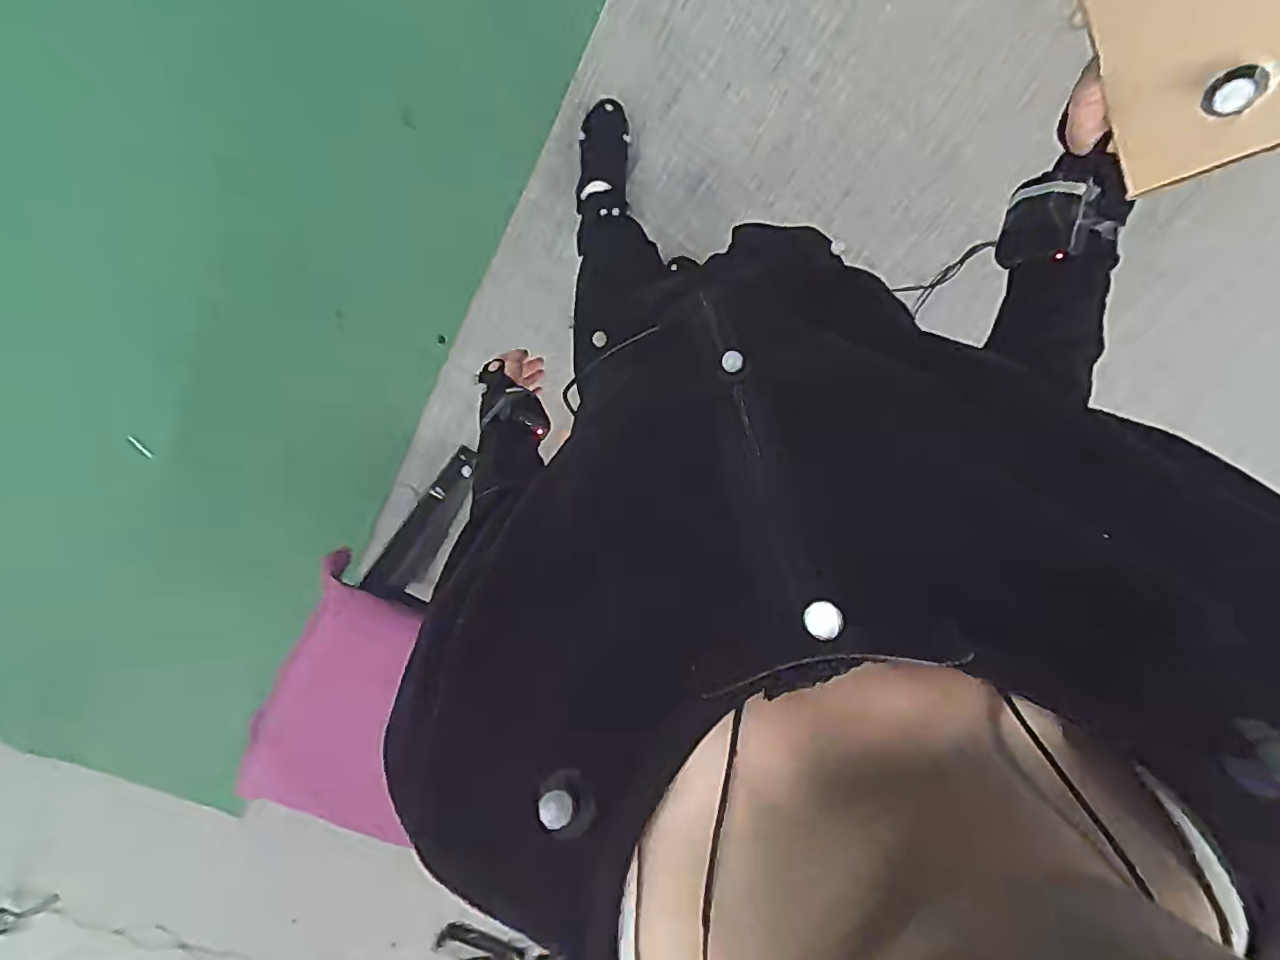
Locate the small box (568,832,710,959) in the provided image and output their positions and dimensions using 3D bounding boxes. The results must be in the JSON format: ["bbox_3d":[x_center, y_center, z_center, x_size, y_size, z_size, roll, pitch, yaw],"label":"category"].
[{"bbox_3d":[-0.008,0.715,0.884,0.168,0.176,0.179,29,116,-15],"label":"small box"}]

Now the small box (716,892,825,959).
[{"bbox_3d":[0.229,0.855,0.947,0.179,0.176,0.168,-3,118,4],"label":"small box"}]

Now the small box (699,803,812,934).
[{"bbox_3d":[0.224,0.789,1.099,0.179,0.176,0.168,7,118,-2],"label":"small box"}]
